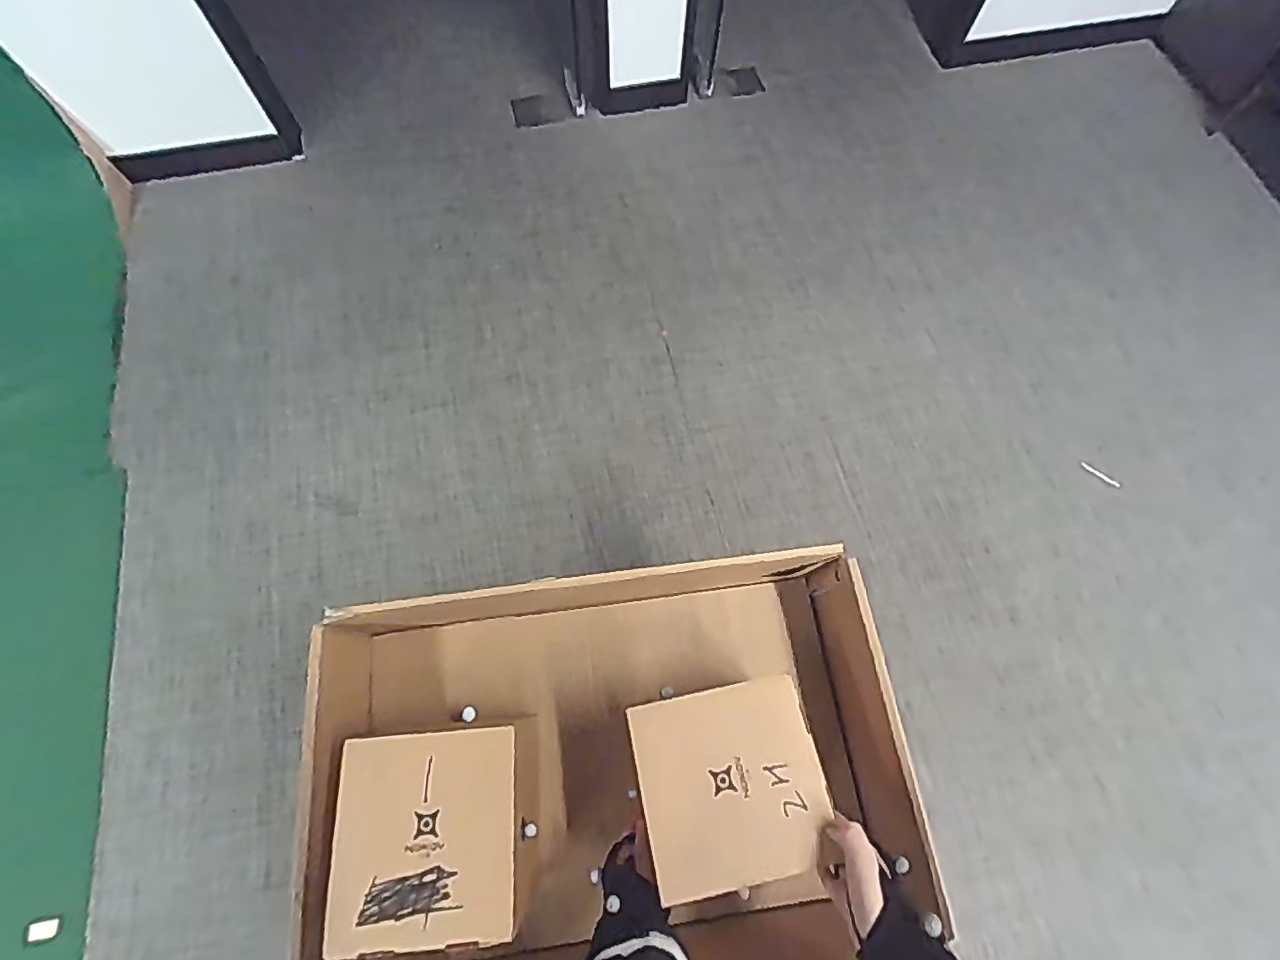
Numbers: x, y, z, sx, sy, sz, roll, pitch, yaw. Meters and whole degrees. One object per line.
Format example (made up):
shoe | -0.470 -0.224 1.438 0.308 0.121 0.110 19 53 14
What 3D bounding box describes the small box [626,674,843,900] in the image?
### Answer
small box | 0.086 0.321 0.586 0.179 0.176 0.168 -10 64 -5
